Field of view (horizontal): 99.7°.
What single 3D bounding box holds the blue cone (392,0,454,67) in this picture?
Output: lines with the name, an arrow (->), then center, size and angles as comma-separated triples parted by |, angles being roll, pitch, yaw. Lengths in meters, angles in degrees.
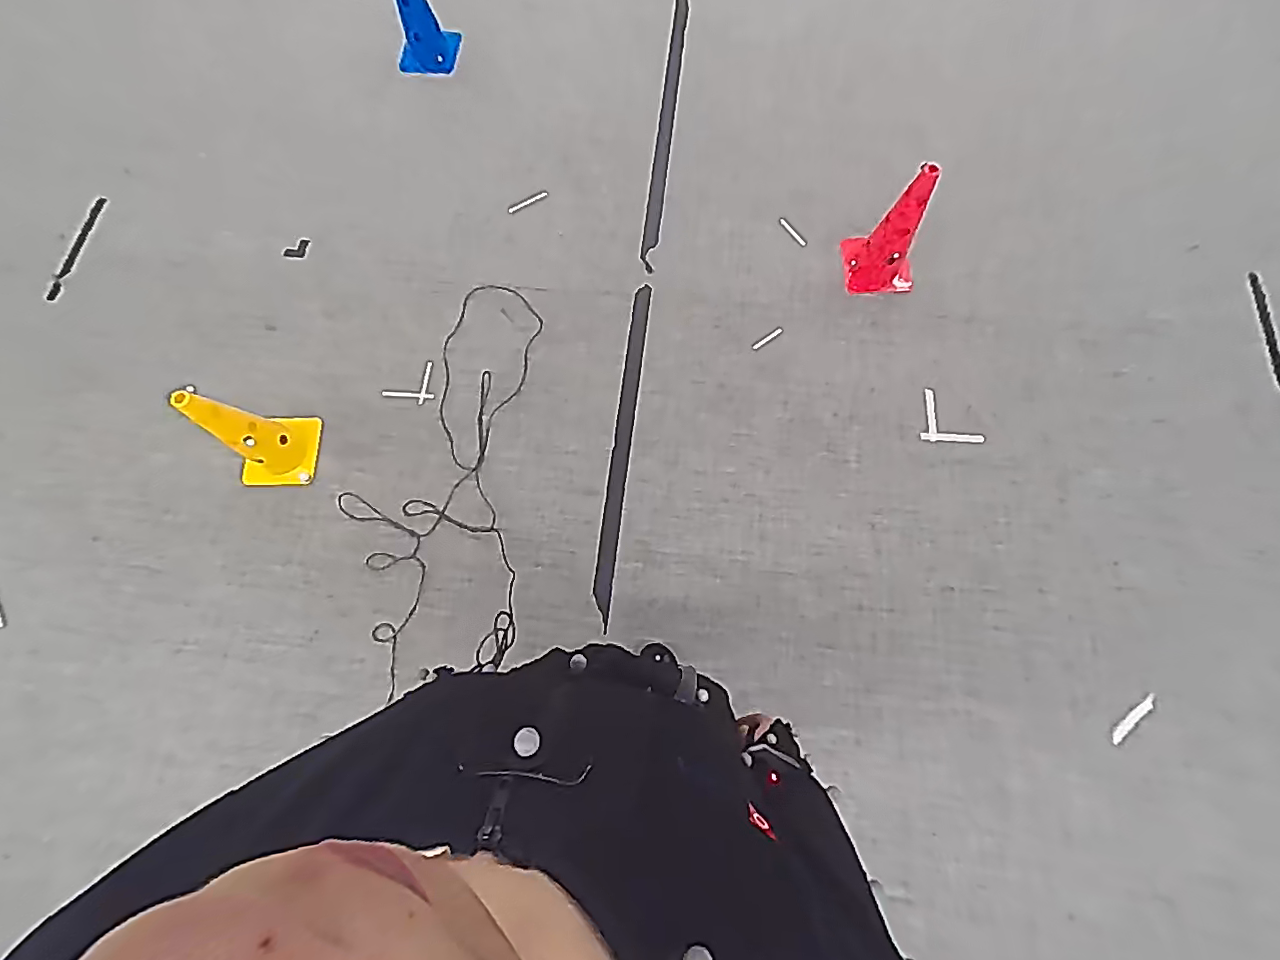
blue cone -> -0.772, -1.593, 1.774 | 0.192, 0.380, 0.193 | 6, 74, 4

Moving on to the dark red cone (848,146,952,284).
dark red cone -> 0.723, -0.719, 1.455 | 0.201, 0.394, 0.202 | -2, 74, 2
